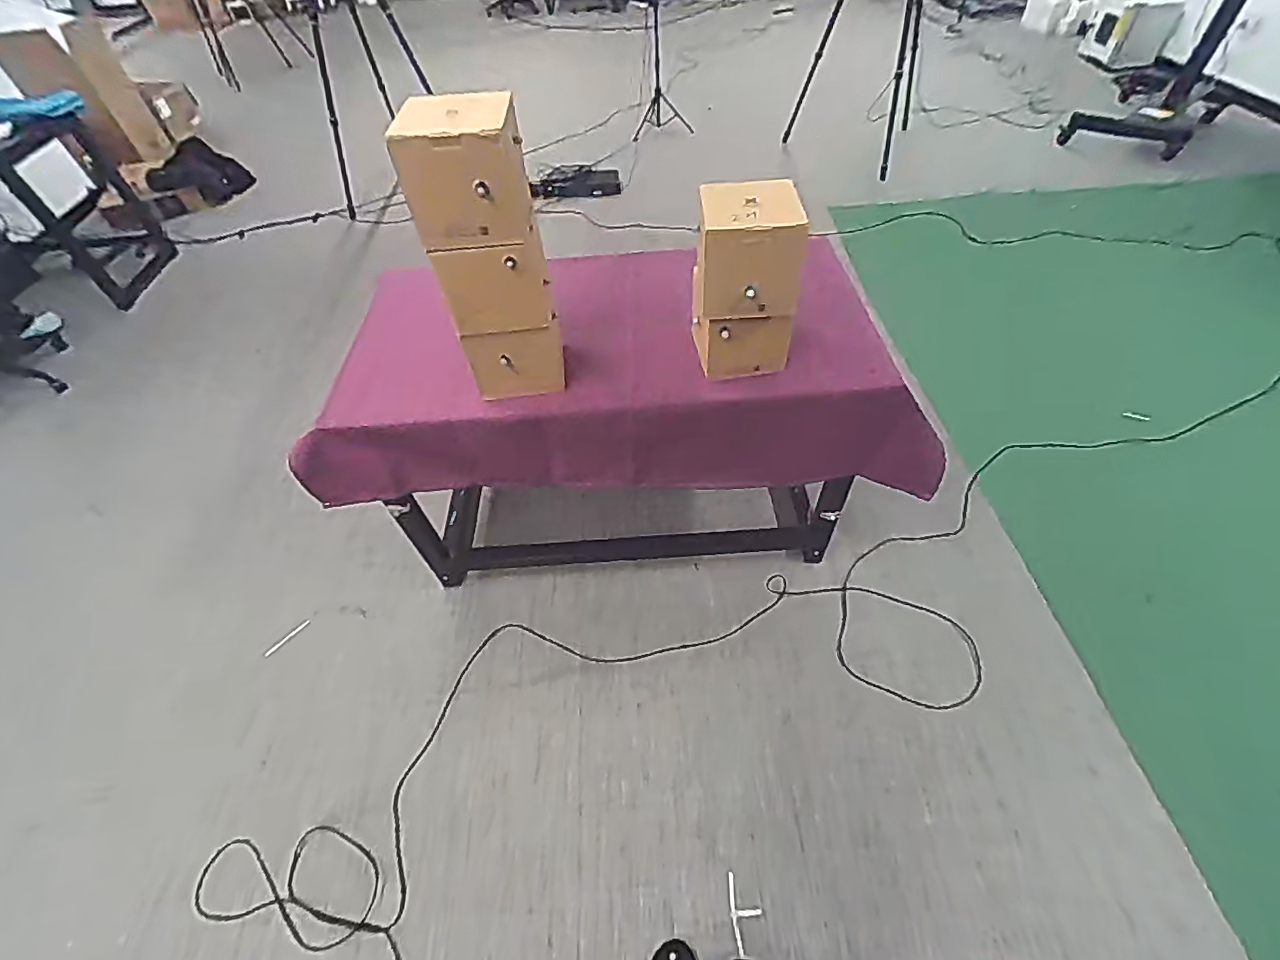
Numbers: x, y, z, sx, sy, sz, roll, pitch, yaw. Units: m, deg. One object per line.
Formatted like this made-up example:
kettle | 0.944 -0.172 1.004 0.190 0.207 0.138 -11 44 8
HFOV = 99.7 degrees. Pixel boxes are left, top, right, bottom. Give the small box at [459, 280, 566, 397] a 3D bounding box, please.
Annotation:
small box | -0.255 -0.289 1.123 0.179 0.176 0.168 -6 51 0

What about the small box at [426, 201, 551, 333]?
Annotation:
small box | -0.266 -0.387 0.994 0.179 0.176 0.168 -6 50 -2

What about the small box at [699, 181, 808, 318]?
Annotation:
small box | 0.193 -0.412 0.972 0.168 0.176 0.179 -2 51 4

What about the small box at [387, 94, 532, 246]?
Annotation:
small box | -0.274 -0.493 0.870 0.168 0.176 0.179 -3 50 0
